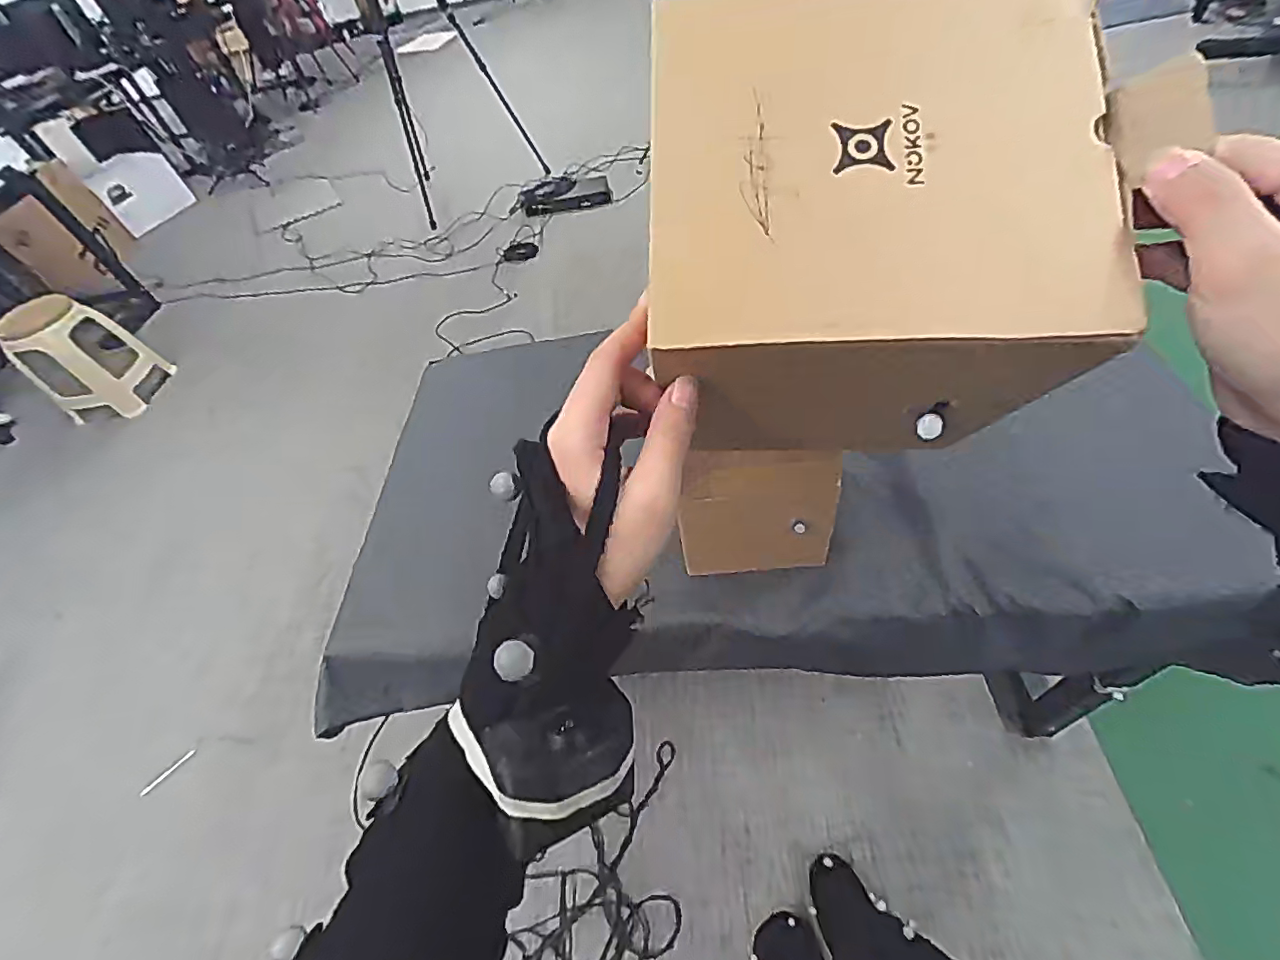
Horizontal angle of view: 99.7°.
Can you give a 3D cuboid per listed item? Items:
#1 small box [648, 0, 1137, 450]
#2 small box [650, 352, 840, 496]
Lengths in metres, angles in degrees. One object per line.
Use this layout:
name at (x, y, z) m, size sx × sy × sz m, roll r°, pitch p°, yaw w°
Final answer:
small box at (0.100, -0.116, 0.292) m, size 0.179 × 0.176 × 0.168 m, roll -1°, pitch 78°, yaw 7°
small box at (0.108, -0.097, 0.557) m, size 0.179 × 0.176 × 0.168 m, roll -5°, pitch 51°, yaw 6°
